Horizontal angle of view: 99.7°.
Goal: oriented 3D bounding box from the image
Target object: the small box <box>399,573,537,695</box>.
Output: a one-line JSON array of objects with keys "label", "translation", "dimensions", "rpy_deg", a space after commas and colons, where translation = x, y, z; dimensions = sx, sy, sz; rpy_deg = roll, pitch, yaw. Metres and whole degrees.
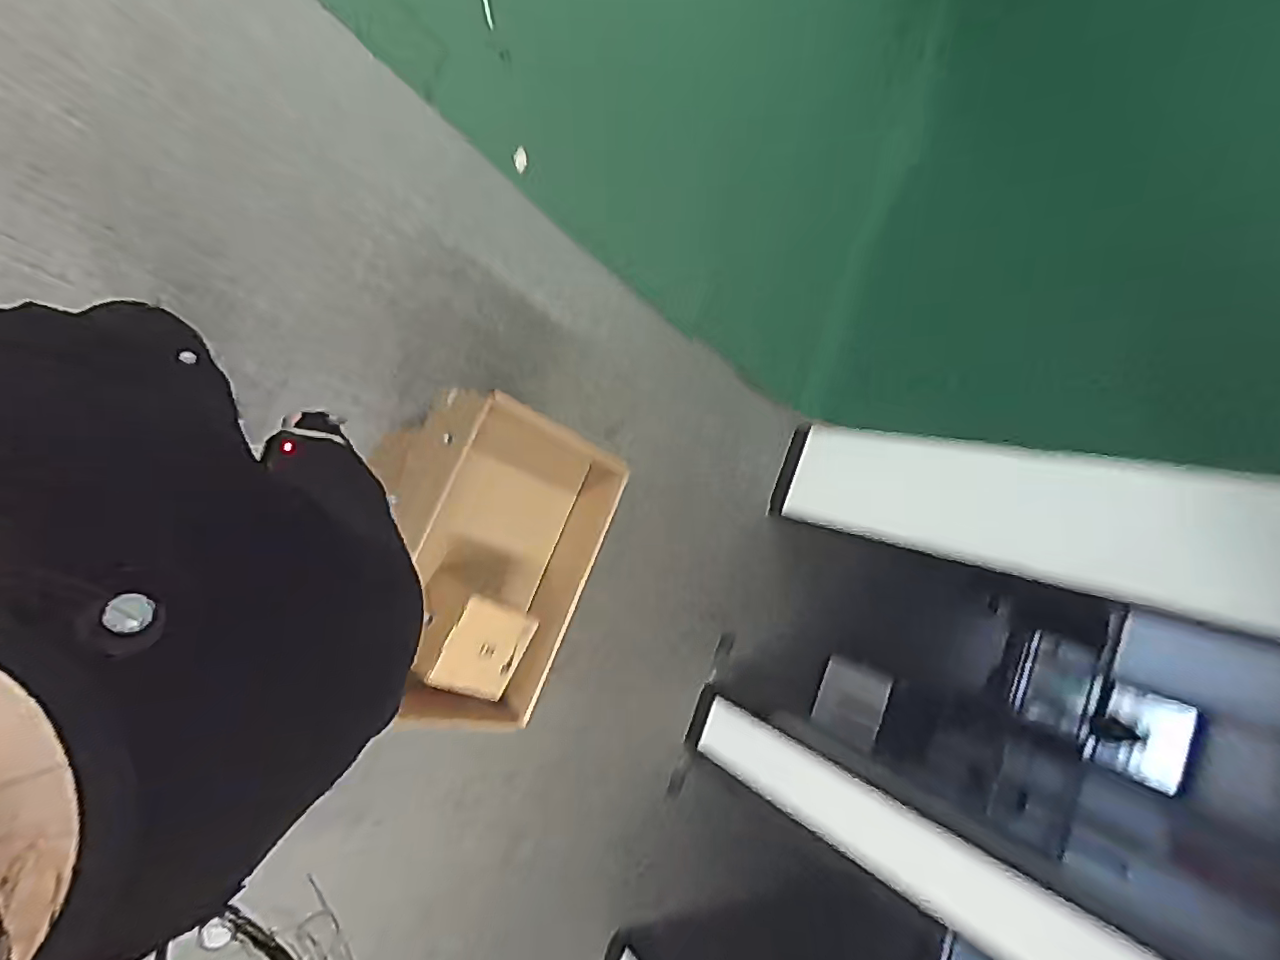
[{"label": "small box", "translation": [-0.351, 0.304, 1.092], "dimensions": [0.179, 0.176, 0.168], "rpy_deg": [39, 74, -41]}]
